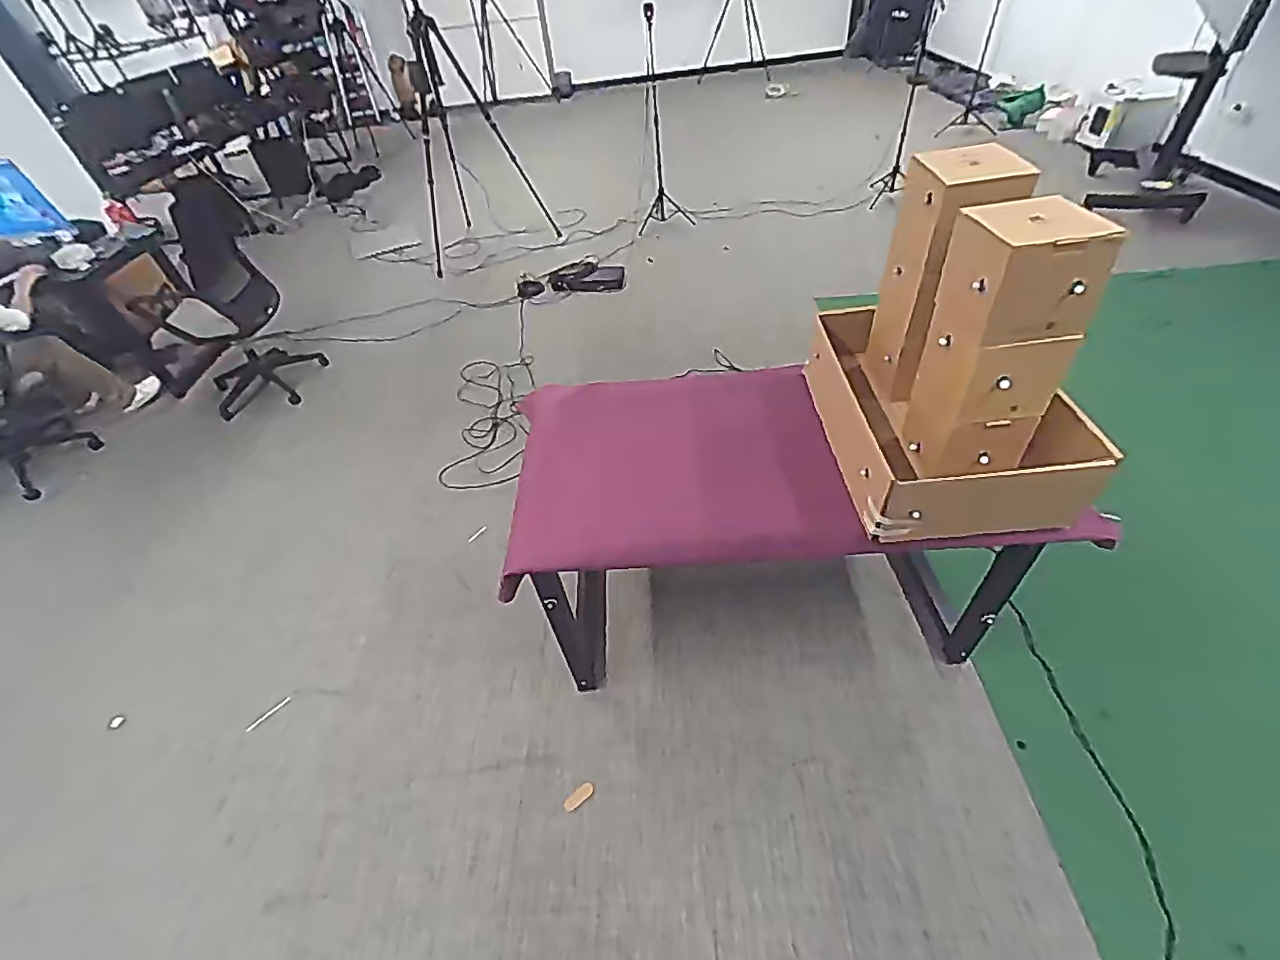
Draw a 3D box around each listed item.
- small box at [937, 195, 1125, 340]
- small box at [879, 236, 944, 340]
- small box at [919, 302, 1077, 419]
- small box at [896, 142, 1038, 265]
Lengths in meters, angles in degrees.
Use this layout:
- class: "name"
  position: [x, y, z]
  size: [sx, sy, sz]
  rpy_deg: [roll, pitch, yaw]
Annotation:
- class: "small box"
  position: [0.625, -0.344, 0.893]
  size: [0.168, 0.176, 0.179]
  rpy_deg: [-6, 43, 4]
- class: "small box"
  position: [0.651, -0.432, 1.198]
  size: [0.168, 0.176, 0.179]
  rpy_deg: [-7, 47, 4]
- class: "small box"
  position: [0.647, -0.225, 1.003]
  size: [0.168, 0.176, 0.179]
  rpy_deg: [-6, 44, 4]
- class: "small box"
  position: [0.634, -0.542, 1.075]
  size: [0.168, 0.176, 0.179]
  rpy_deg: [-5, 47, 4]
